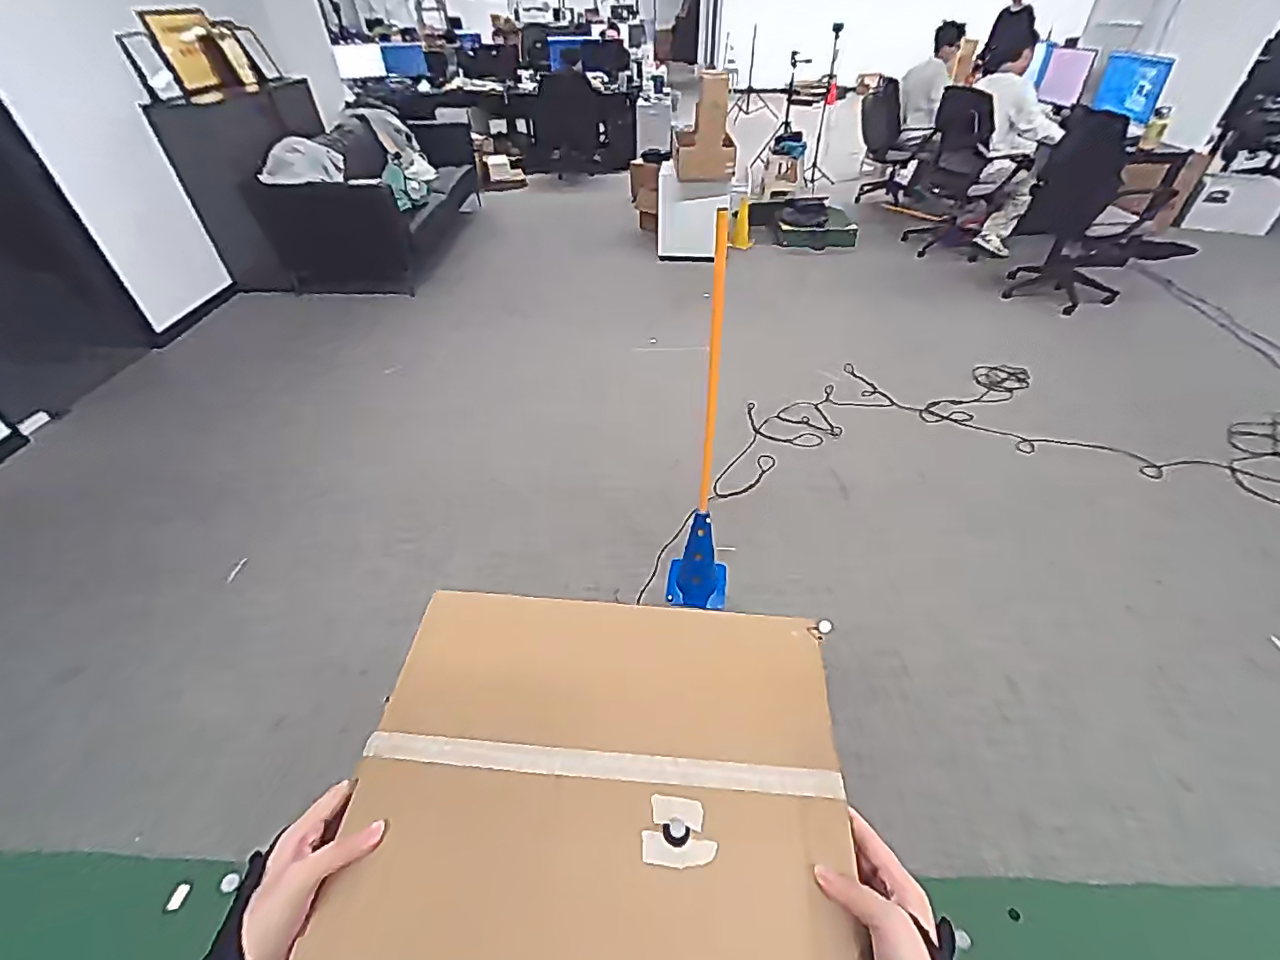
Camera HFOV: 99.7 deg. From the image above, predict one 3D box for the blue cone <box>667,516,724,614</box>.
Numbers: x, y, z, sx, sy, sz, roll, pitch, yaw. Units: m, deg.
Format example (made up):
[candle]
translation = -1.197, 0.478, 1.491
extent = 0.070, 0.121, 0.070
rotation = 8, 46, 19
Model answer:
[blue cone]
translation = 0.191, 0.252, 1.765
extent = 0.193, 0.380, 0.192
rotation = 6, 42, 9

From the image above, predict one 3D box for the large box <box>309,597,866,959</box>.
[large box]
translation = -0.033, 0.350, 0.581
extent = 0.408, 0.320, 0.320
rotation = 4, 47, 2
